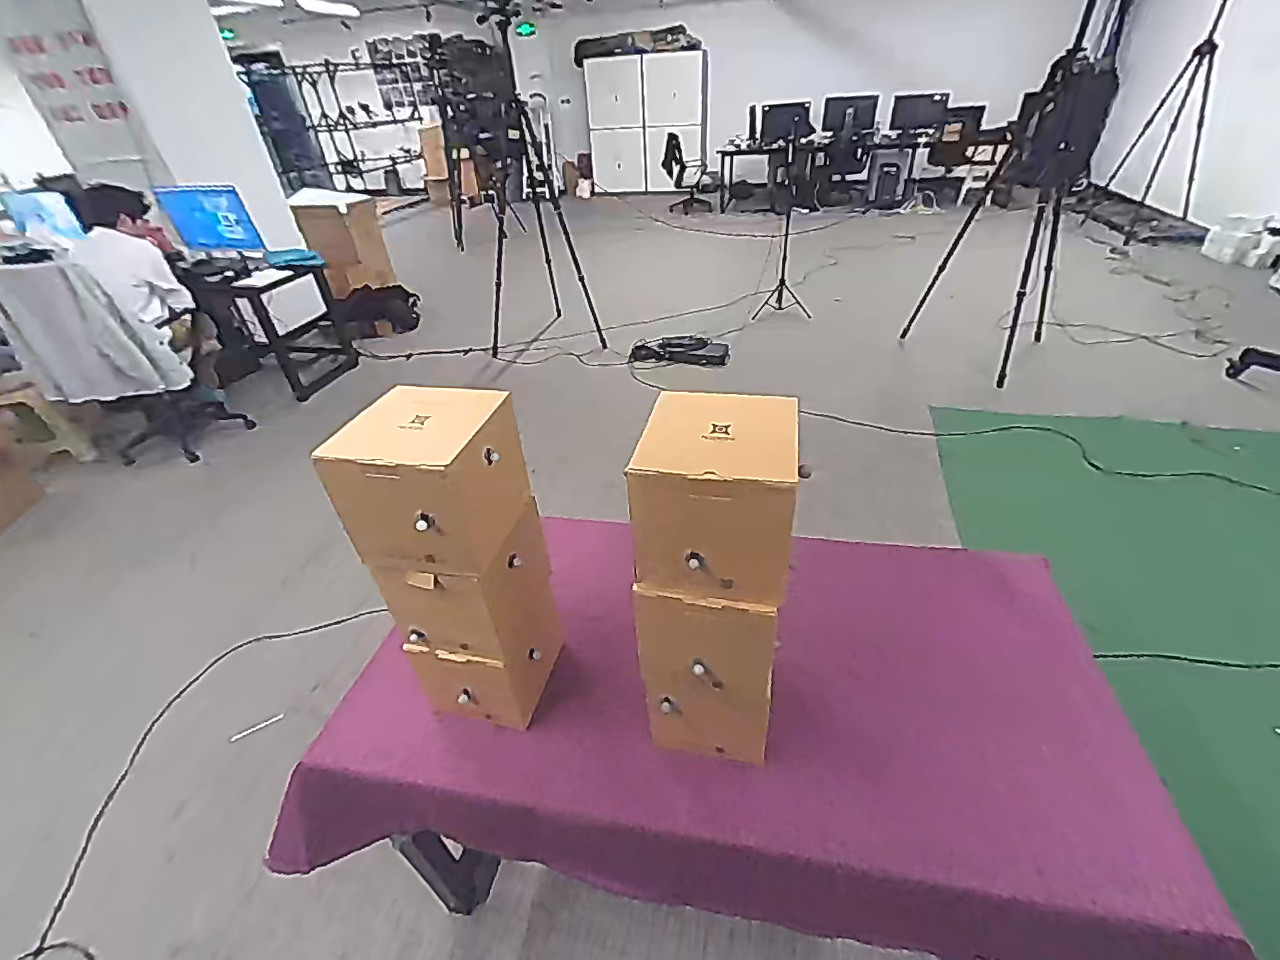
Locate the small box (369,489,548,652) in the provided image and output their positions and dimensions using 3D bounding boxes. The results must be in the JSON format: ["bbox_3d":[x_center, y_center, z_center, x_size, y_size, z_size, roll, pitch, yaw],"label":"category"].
[{"bbox_3d":[-0.245,0.122,0.785,0.168,0.176,0.179,7,37,13],"label":"small box"}]

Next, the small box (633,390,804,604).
[{"bbox_3d":[0.093,0.015,0.627,0.168,0.176,0.179,6,38,12],"label":"small box"}]

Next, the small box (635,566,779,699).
[{"bbox_3d":[0.097,0.153,0.715,0.168,0.176,0.179,7,38,15],"label":"small box"}]

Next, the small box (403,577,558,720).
[{"bbox_3d":[-0.242,0.258,0.878,0.168,0.176,0.179,7,38,12],"label":"small box"}]

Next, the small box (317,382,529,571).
[{"bbox_3d":[-0.253,-0.007,0.685,0.168,0.176,0.179,6,37,11],"label":"small box"}]
